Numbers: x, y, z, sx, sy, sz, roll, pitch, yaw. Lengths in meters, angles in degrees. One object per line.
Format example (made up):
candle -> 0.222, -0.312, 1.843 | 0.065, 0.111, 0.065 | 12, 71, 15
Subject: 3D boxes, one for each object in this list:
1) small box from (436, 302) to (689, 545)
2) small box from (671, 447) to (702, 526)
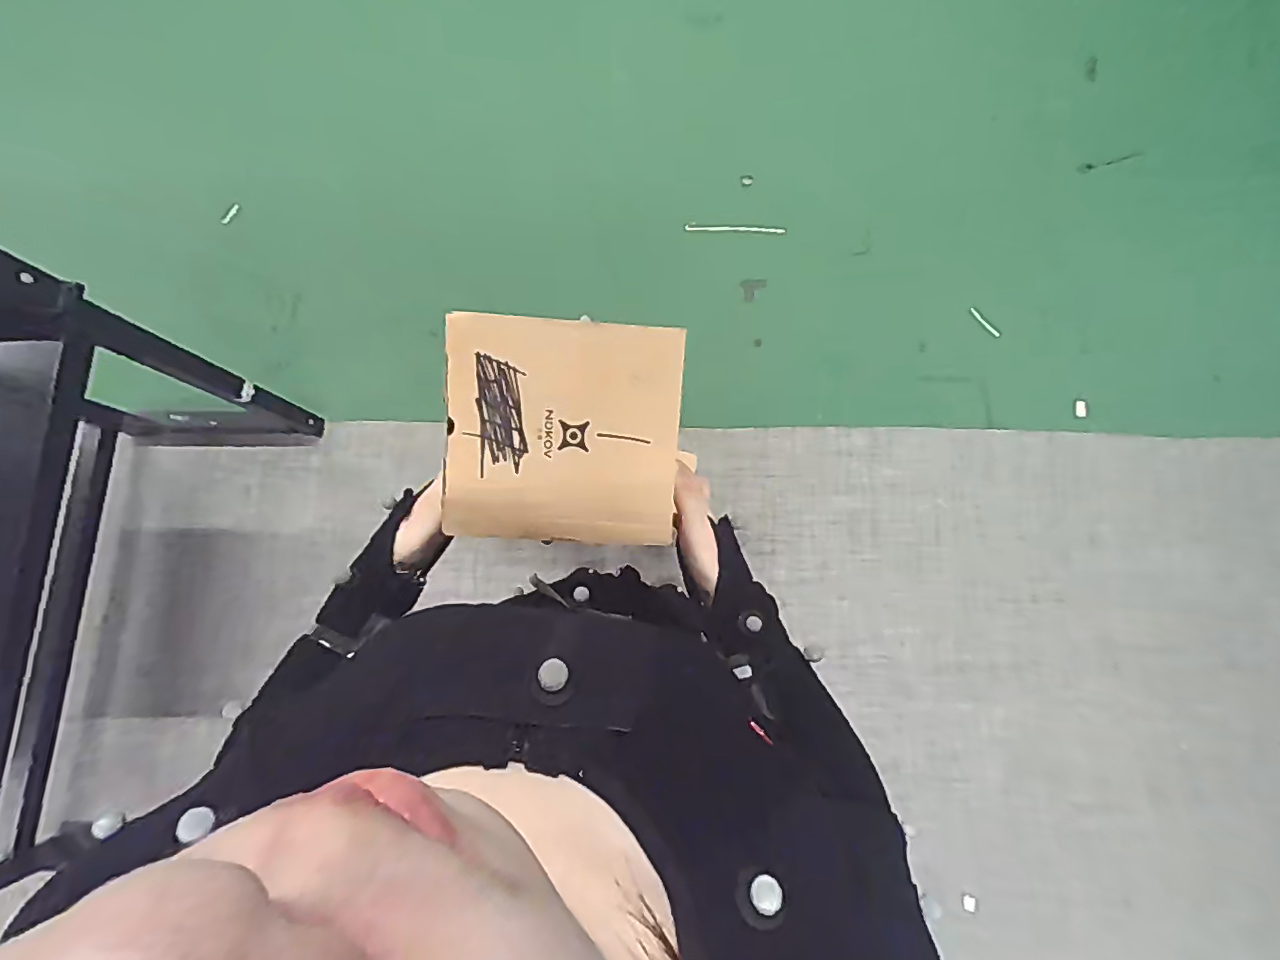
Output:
small box -> -0.060, -0.049, 0.468 | 0.179, 0.176, 0.168 | 4, 99, -3
small box -> 0.040, 0.010, 1.299 | 0.179, 0.176, 0.168 | 12, 81, 2
